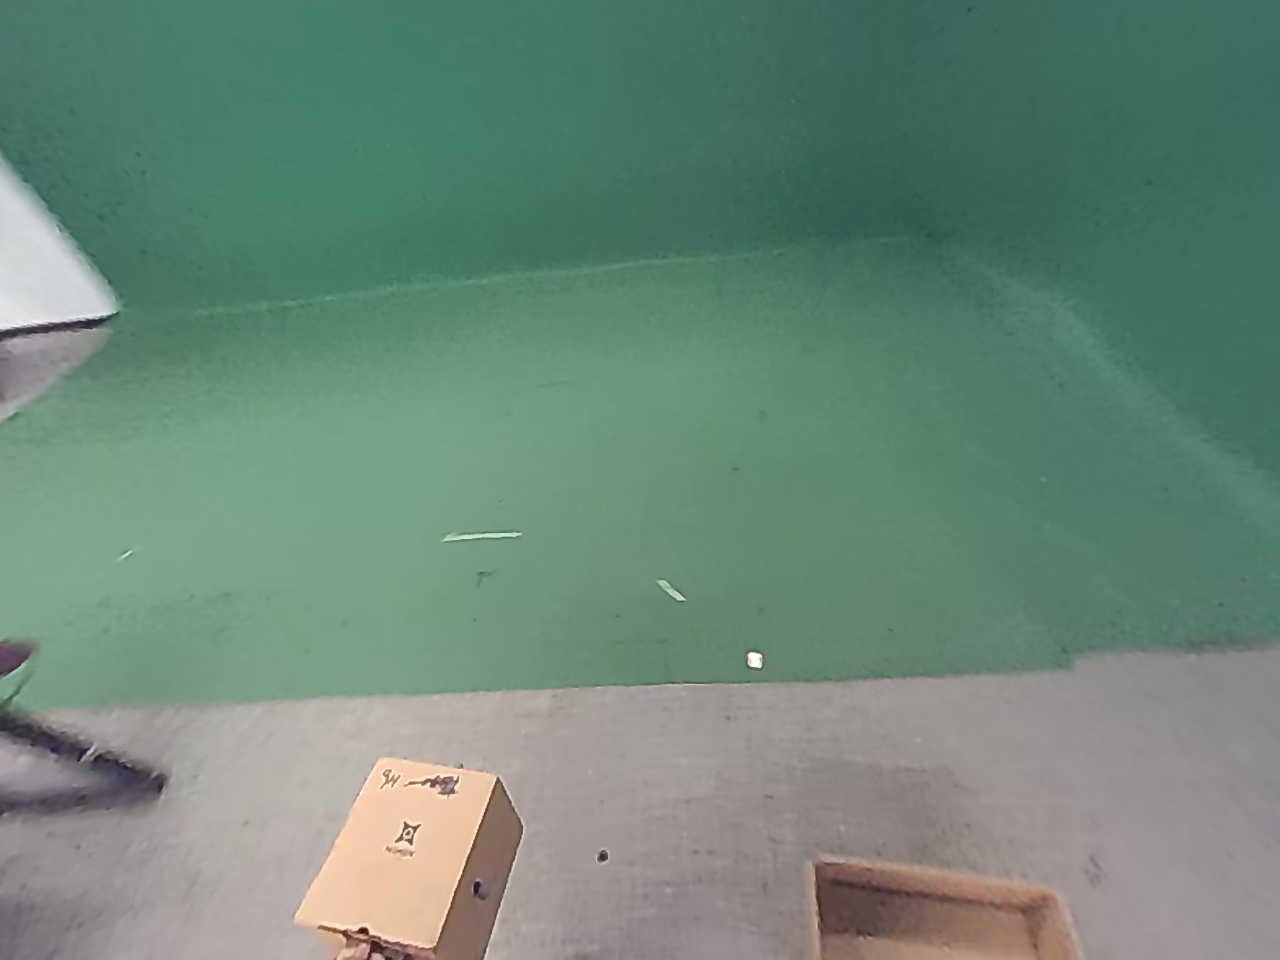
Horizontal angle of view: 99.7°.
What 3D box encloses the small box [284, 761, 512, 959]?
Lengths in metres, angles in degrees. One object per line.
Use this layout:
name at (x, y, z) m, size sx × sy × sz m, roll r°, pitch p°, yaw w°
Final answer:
small box at (-0.274, 0.480, 0.664) m, size 0.168 × 0.176 × 0.179 m, roll 2°, pitch 39°, yaw 10°
